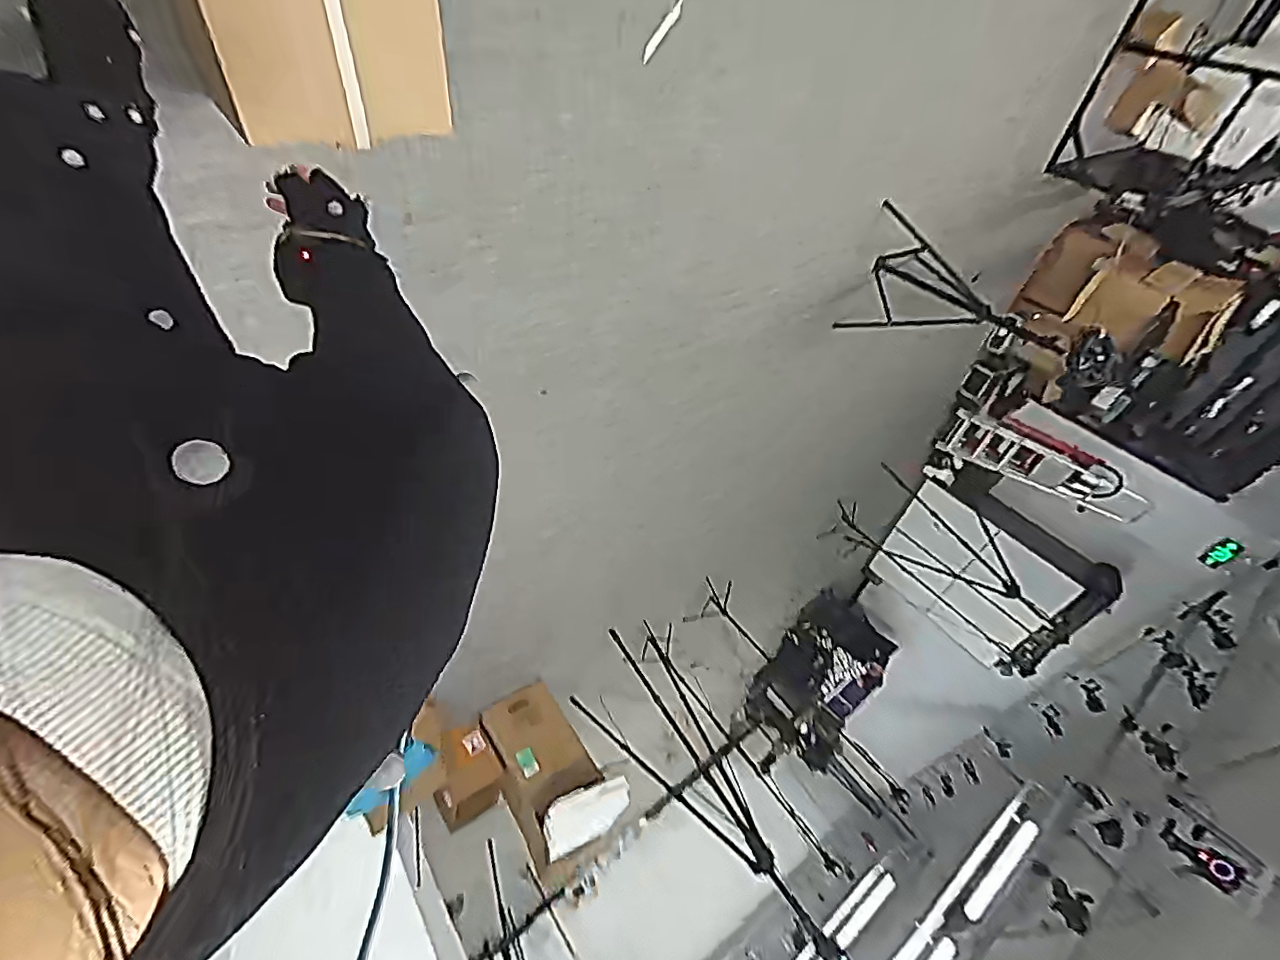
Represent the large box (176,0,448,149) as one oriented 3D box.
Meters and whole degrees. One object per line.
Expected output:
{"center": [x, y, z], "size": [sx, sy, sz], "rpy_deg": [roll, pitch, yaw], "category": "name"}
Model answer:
{"center": [-0.531, -0.778, 0.820], "size": [0.320, 0.320, 0.408], "rpy_deg": [-26, 143, -30], "category": "large box"}
